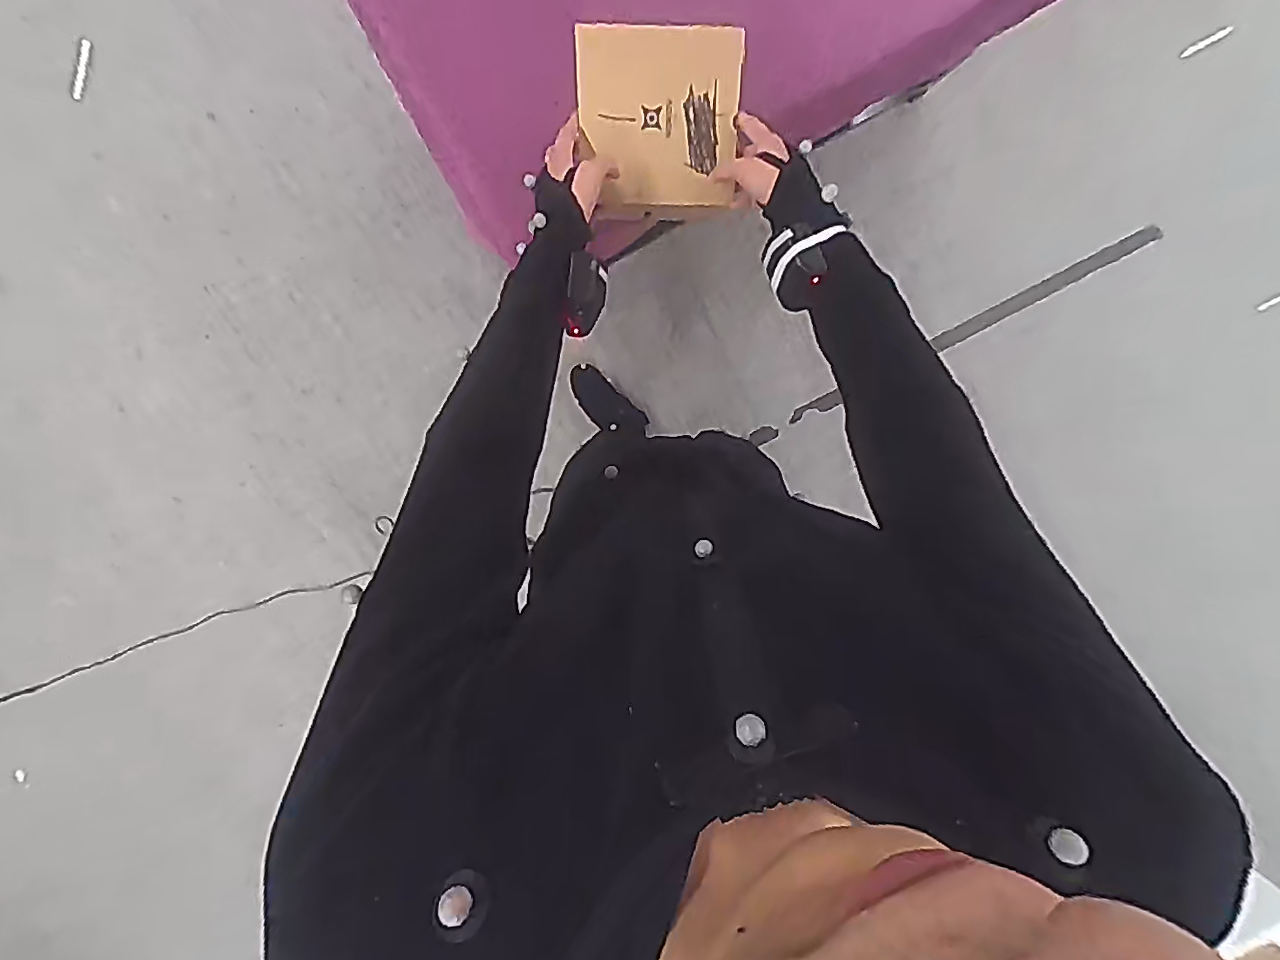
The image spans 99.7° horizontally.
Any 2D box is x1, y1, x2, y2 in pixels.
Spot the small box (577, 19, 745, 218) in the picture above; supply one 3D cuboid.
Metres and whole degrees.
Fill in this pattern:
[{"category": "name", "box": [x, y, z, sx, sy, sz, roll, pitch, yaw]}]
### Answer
[{"category": "small box", "box": [0.016, -0.416, 0.651, 0.179, 0.176, 0.168, 0, 110, -2]}]
